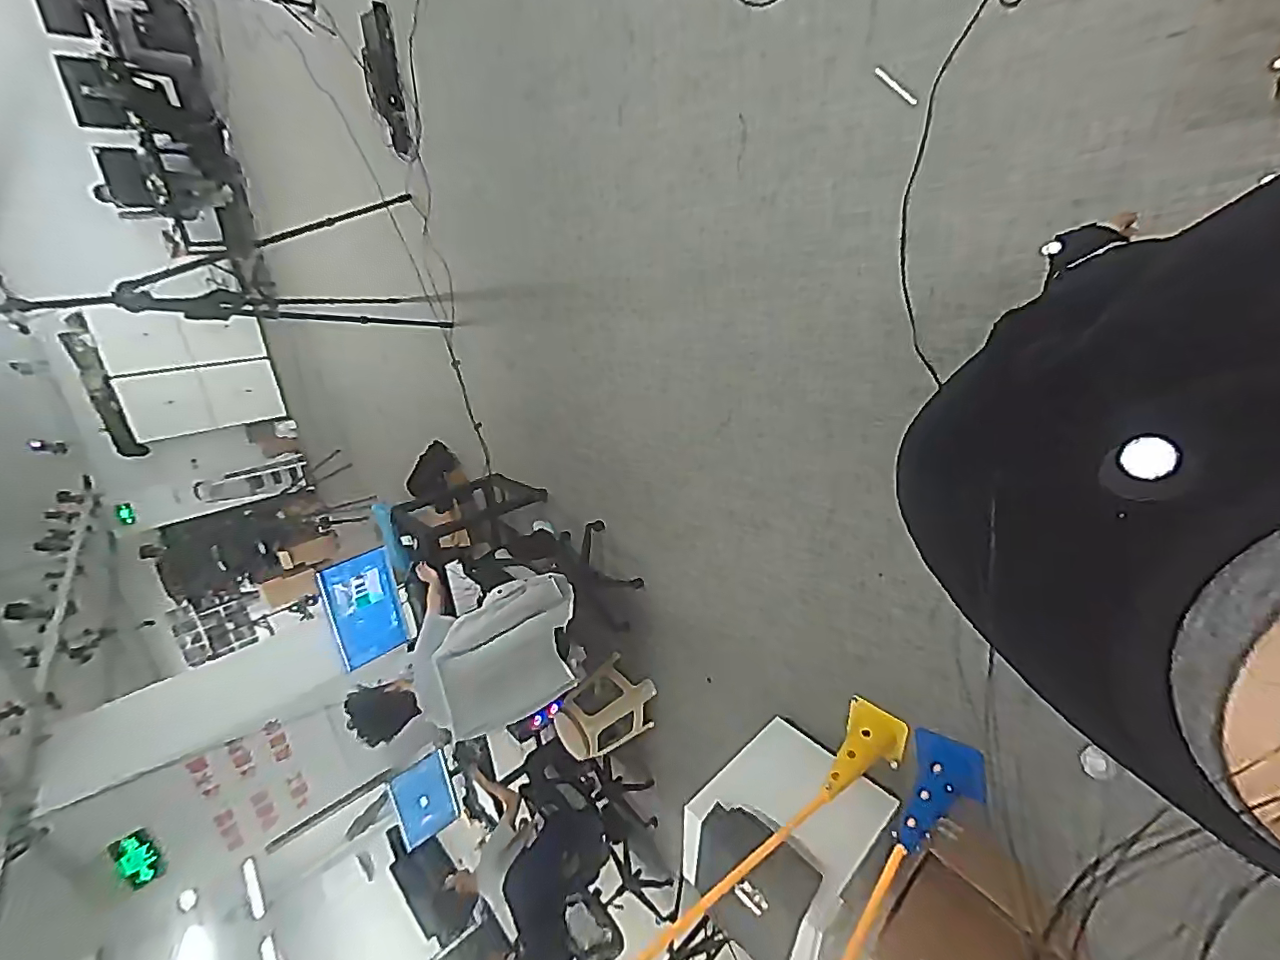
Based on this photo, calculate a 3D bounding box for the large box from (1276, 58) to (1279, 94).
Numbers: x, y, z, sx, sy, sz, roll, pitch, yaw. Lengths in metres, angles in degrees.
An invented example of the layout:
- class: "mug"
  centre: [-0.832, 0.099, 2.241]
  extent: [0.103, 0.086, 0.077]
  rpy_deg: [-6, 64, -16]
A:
- class: "large box"
  centre: [1.099, -0.693, 0.632]
  extent: [0.408, 0.320, 0.320]
  rpy_deg: [19, 120, 44]
